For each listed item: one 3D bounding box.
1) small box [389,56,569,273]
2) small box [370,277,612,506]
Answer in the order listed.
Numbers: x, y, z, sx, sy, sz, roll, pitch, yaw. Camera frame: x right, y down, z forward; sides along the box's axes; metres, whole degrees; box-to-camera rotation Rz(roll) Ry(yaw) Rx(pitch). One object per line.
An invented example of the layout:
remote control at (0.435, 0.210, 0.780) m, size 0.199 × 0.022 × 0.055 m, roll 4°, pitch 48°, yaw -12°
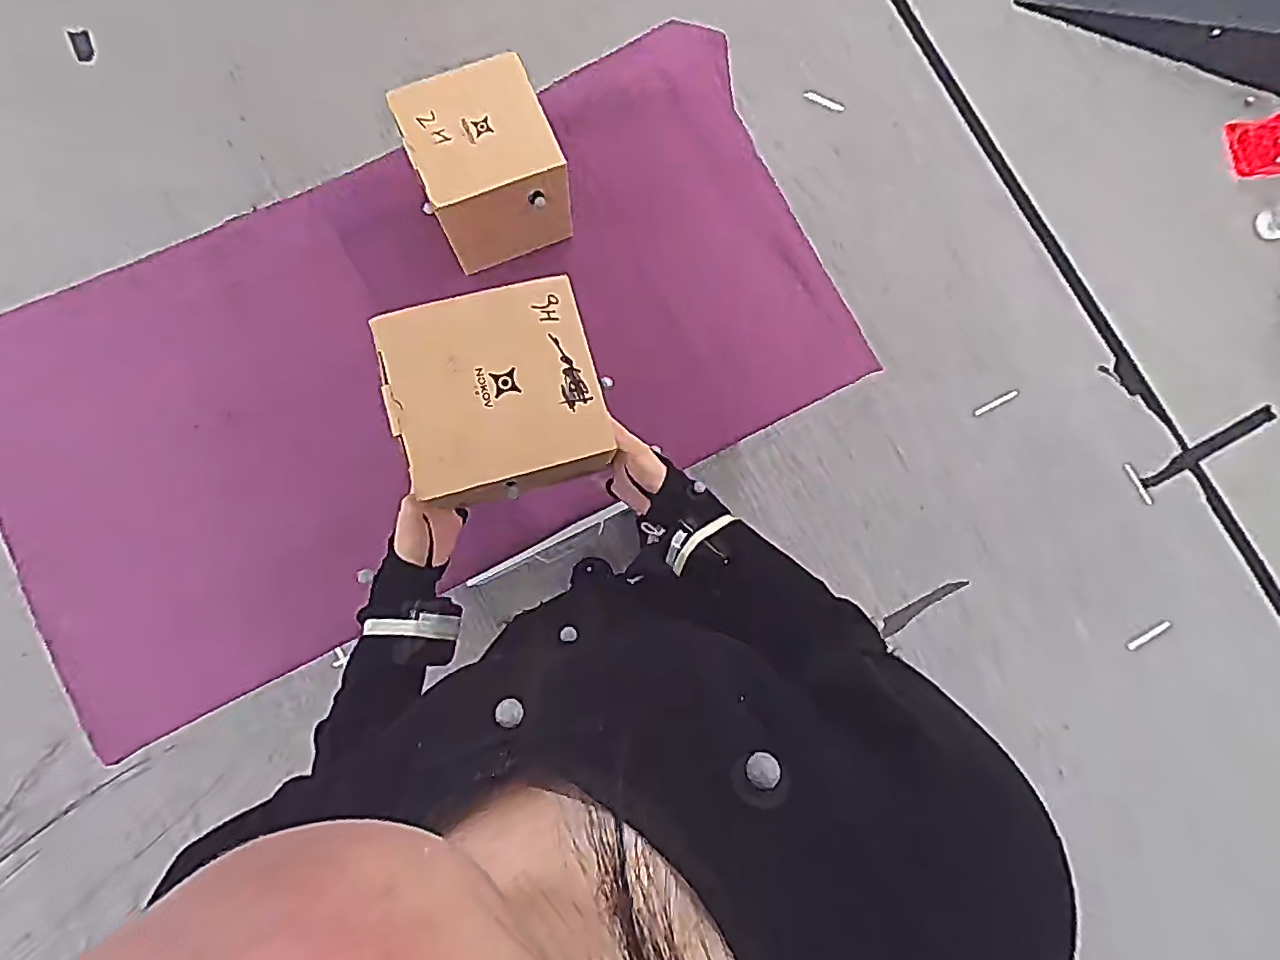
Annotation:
small box at (-0.206, -0.420, 0.746) m, size 0.179 × 0.176 × 0.168 m, roll -24°, pitch 86°, yaw -6°
small box at (-0.132, -0.073, 0.538) m, size 0.179 × 0.176 × 0.168 m, roll -15°, pitch 87°, yaw -7°
